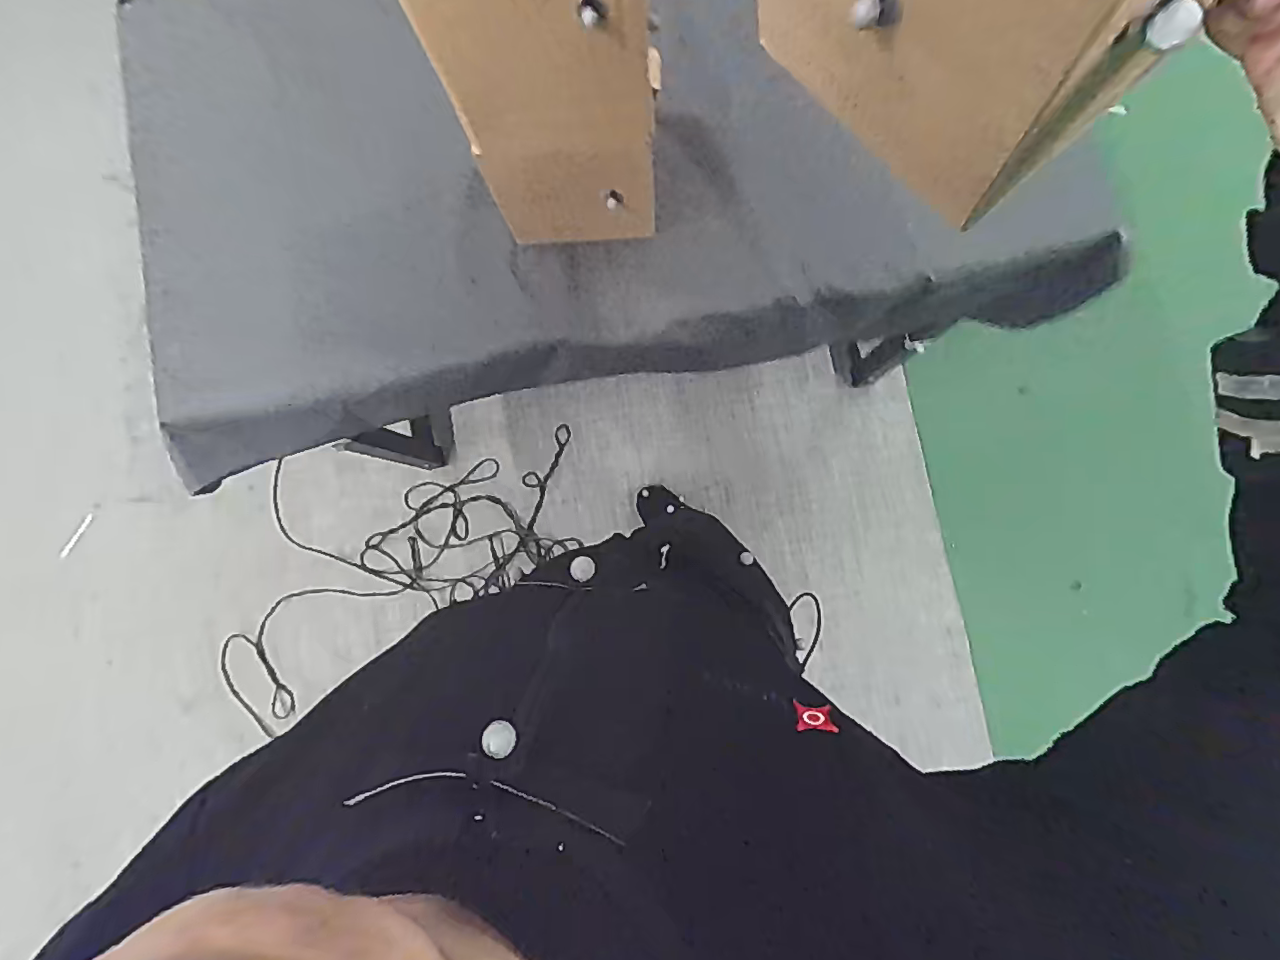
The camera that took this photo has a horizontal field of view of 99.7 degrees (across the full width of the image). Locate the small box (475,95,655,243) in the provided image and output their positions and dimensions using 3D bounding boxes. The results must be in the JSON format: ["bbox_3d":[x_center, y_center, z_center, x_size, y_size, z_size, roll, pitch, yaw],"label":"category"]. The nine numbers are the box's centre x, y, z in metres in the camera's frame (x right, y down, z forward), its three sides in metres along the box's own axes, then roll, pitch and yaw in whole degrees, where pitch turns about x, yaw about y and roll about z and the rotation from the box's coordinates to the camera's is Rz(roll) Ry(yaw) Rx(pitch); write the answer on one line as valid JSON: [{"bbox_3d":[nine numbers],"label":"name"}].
[{"bbox_3d":[-0.073,-0.390,0.609,0.179,0.176,0.168,-3,83,3],"label":"small box"}]

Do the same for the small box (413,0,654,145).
[{"bbox_3d":[-0.081,-0.410,0.448,0.179,0.176,0.168,-3,84,2],"label":"small box"}]
